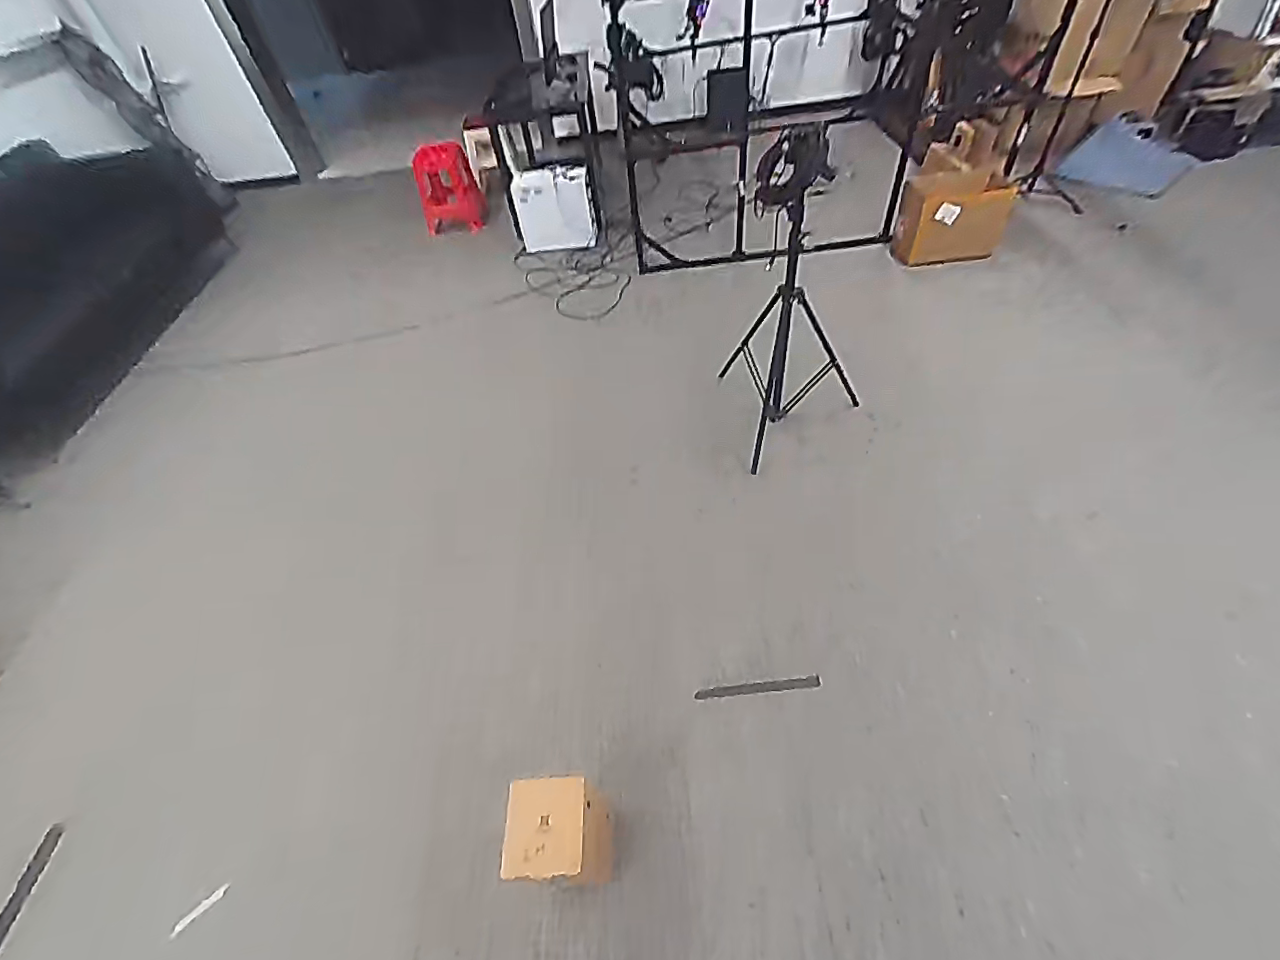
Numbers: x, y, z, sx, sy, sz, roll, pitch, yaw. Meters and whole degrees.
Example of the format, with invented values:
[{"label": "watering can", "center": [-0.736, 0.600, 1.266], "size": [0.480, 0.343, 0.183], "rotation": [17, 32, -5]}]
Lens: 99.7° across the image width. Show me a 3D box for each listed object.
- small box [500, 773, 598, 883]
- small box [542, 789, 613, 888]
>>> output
[{"label": "small box", "center": [-0.187, 0.754, 1.168], "size": [0.168, 0.176, 0.179], "rotation": [-6, 49, 5]}, {"label": "small box", "center": [-0.161, 0.858, 1.293], "size": [0.168, 0.176, 0.179], "rotation": [-5, 48, 5]}]
